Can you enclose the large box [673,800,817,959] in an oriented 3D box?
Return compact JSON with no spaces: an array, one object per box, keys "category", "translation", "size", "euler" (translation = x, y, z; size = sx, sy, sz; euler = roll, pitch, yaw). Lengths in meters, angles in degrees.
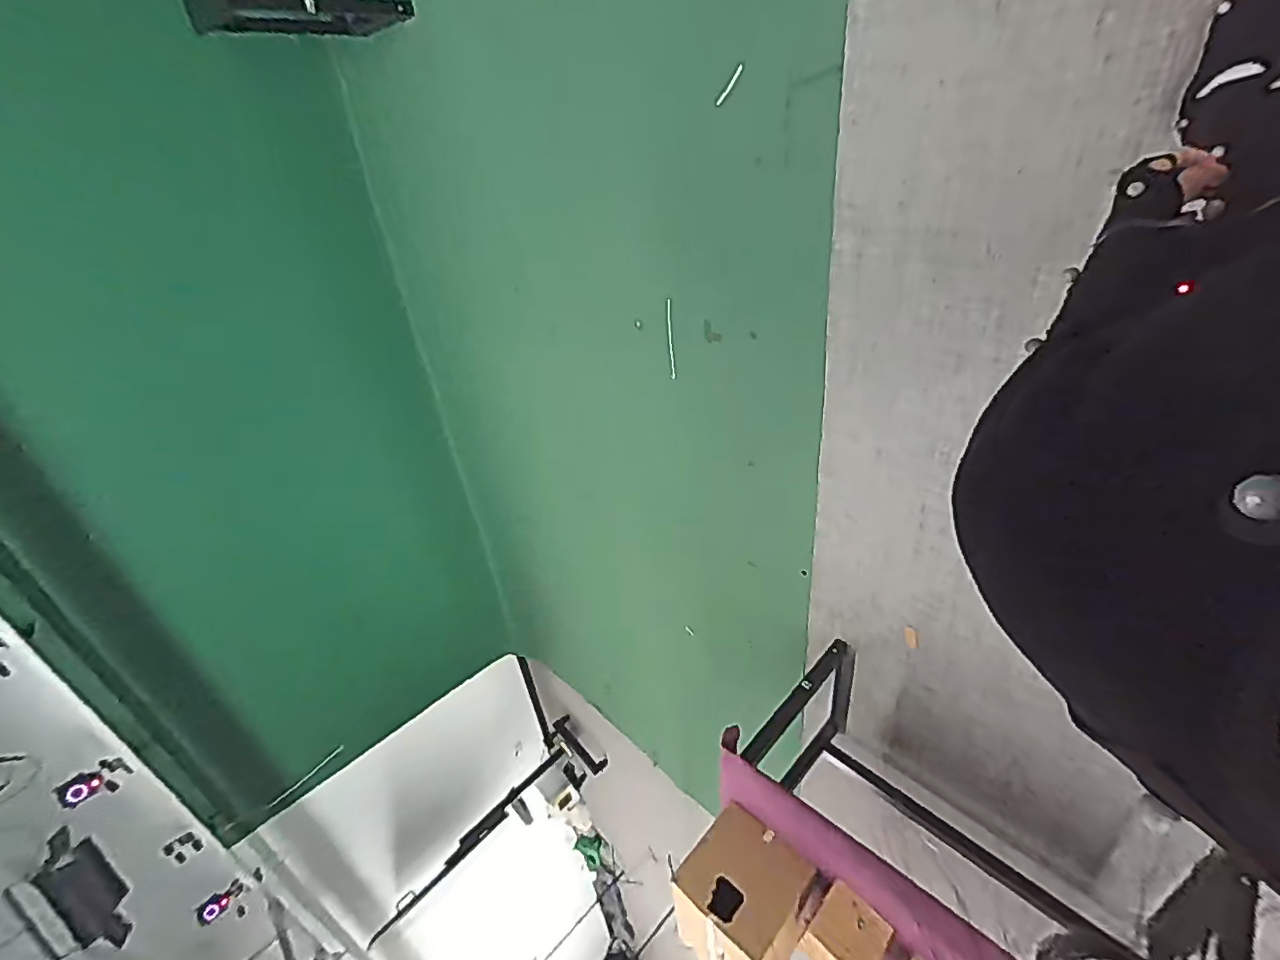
[{"category":"large box","translation":[0.328,1.312,1.674],"size":[0.320,0.320,0.408],"euler":[22,129,39]}]
